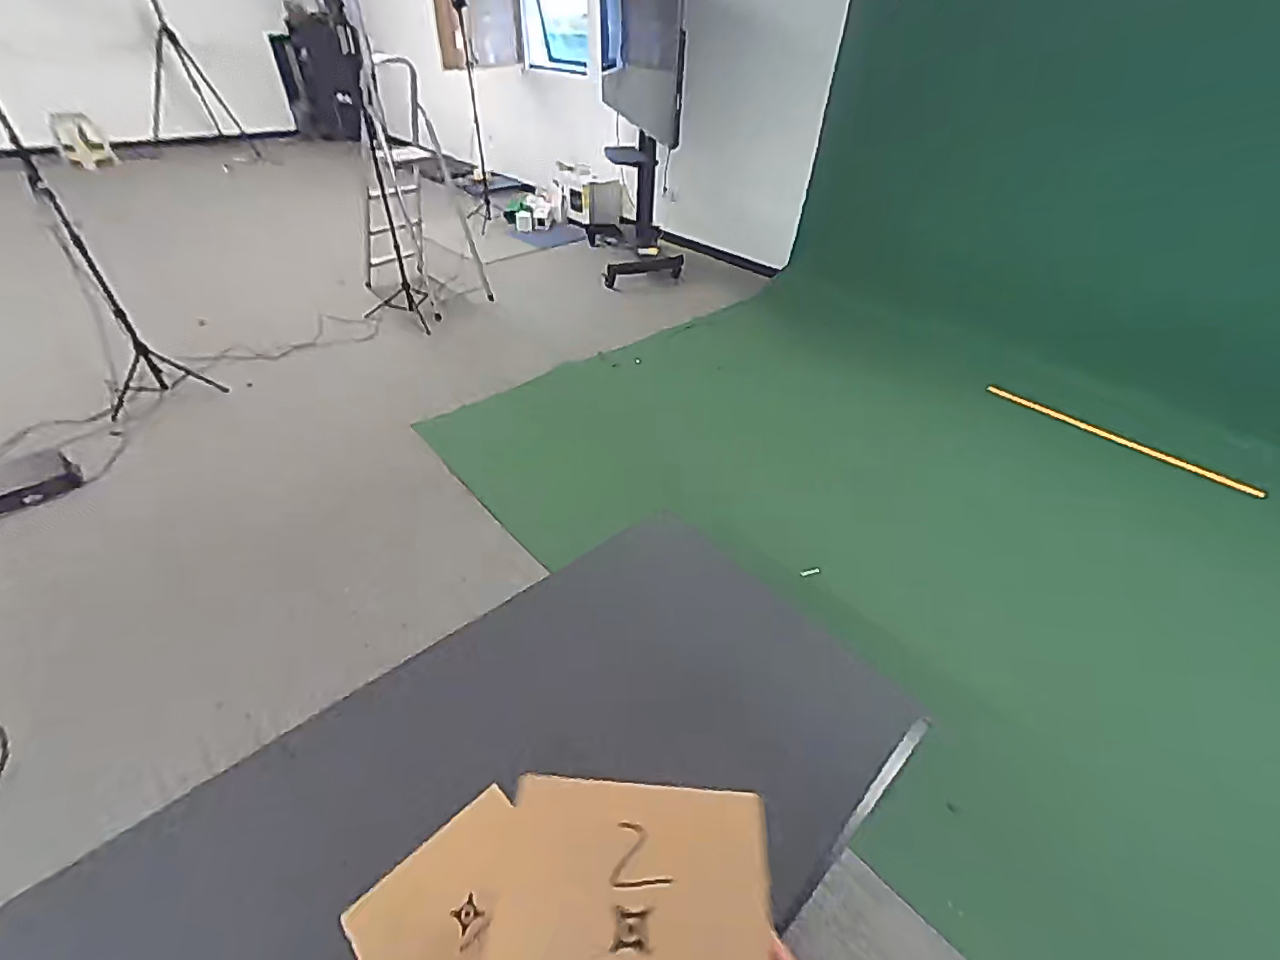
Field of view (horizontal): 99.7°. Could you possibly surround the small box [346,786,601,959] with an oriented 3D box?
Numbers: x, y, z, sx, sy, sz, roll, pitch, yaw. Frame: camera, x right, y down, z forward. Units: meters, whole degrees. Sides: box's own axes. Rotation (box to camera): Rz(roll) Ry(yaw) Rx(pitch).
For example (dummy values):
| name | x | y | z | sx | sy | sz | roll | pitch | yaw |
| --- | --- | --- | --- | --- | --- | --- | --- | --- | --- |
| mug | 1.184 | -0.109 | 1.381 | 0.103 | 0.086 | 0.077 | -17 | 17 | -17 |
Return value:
| name | x | y | z | sx | sy | sz | roll | pitch | yaw |
| --- | --- | --- | --- | --- | --- | --- | --- | --- | --- |
| small box | -0.156 | 0.462 | 0.541 | 0.168 | 0.176 | 0.179 | -32 | 51 | -34 |
